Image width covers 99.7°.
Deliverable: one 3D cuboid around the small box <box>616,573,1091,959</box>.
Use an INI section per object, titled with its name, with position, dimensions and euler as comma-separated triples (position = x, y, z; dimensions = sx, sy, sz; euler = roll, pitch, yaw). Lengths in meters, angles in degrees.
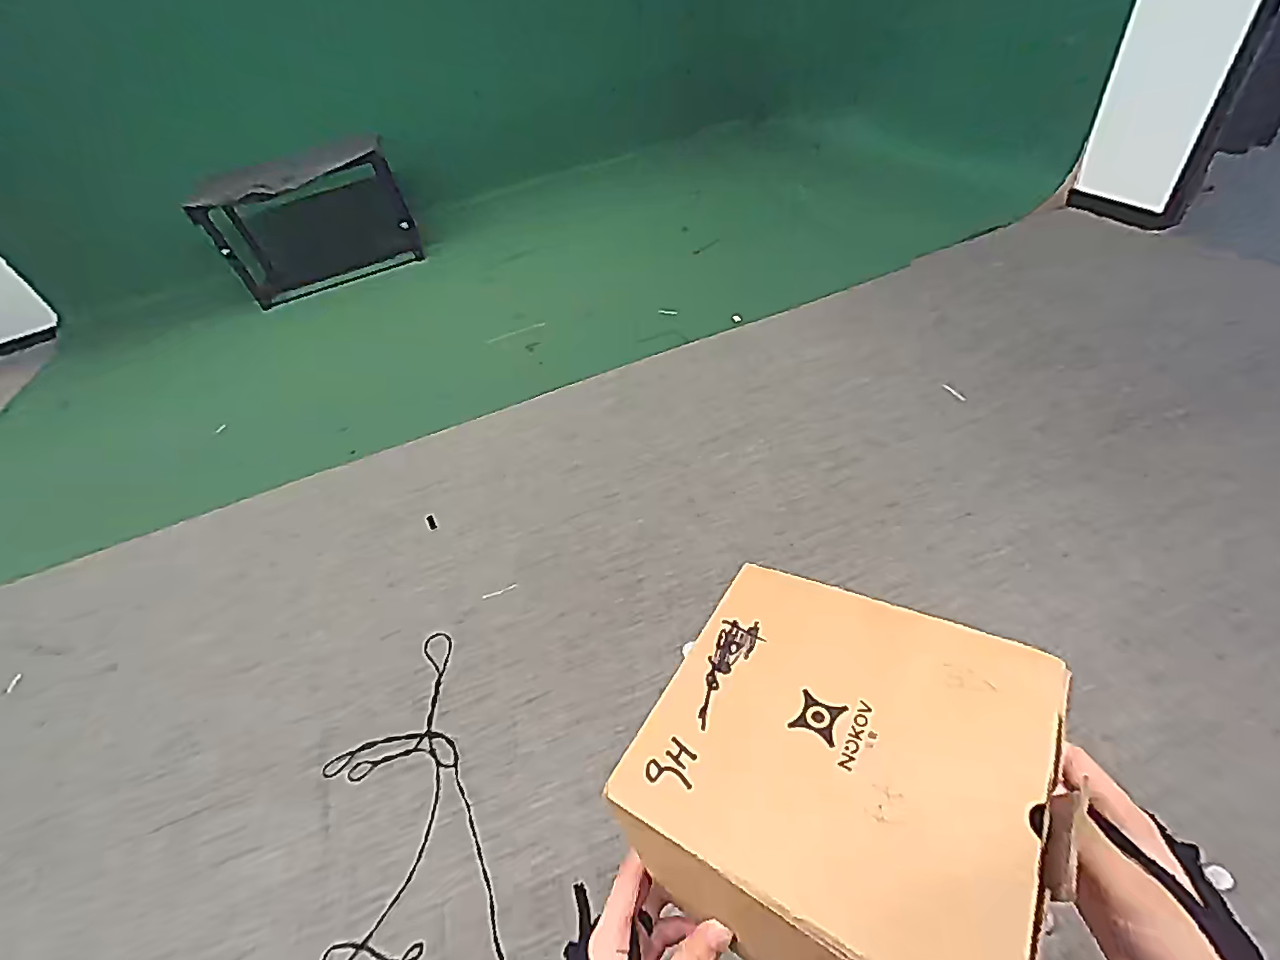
[small box]
position = 0.117, 0.190, 0.310
dimensions = 0.179, 0.176, 0.168
euler = 16, 46, 35
